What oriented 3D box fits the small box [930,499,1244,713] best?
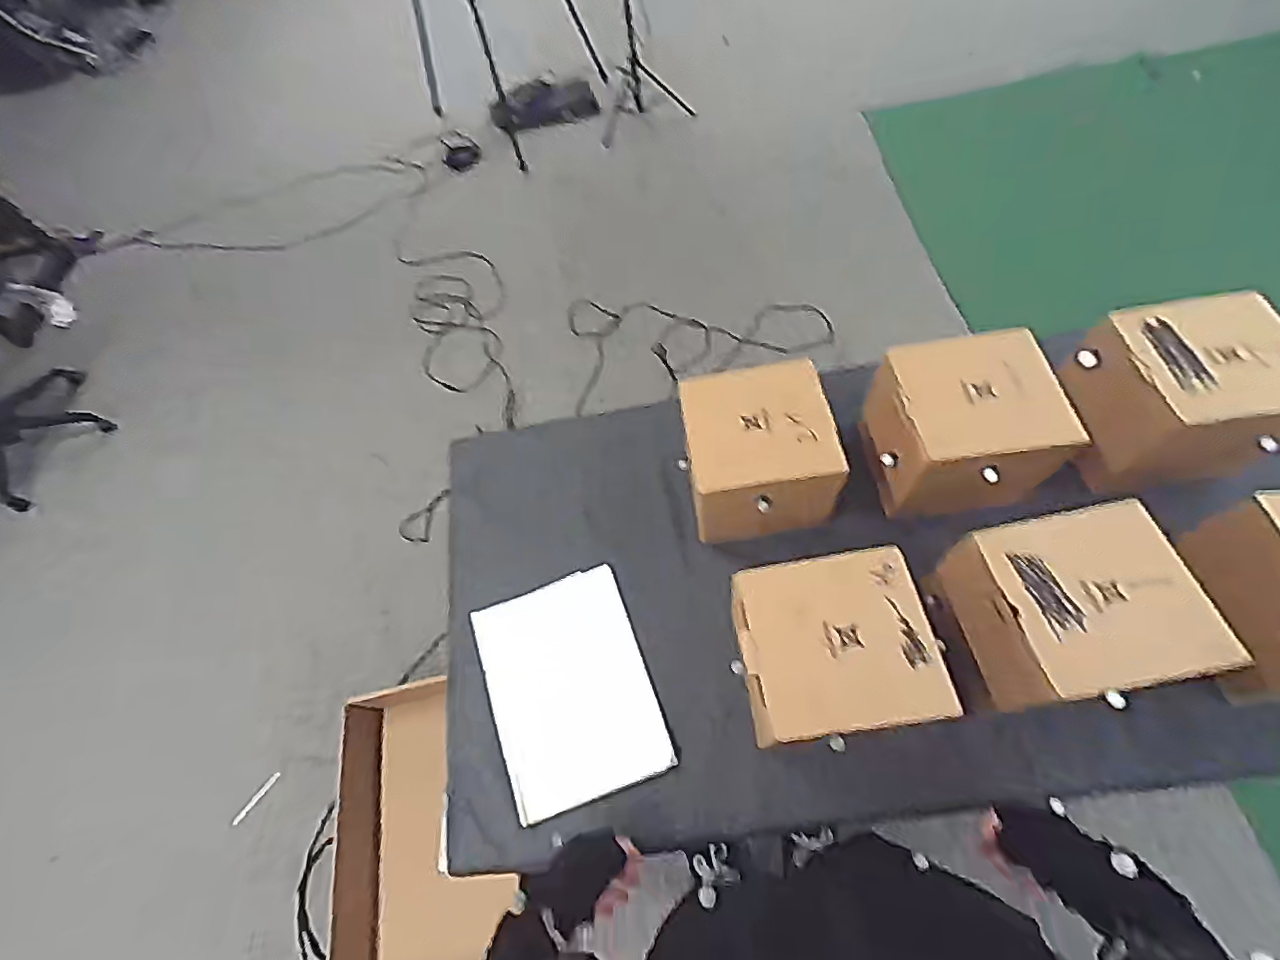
[{"bbox_3d":[0.443,0.143,0.583,0.179,0.176,0.168,-12,60,1],"label":"small box"}]

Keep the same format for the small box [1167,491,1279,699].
[{"bbox_3d":[0.703,0.119,0.562,0.168,0.176,0.179,-7,61,4],"label":"small box"}]
